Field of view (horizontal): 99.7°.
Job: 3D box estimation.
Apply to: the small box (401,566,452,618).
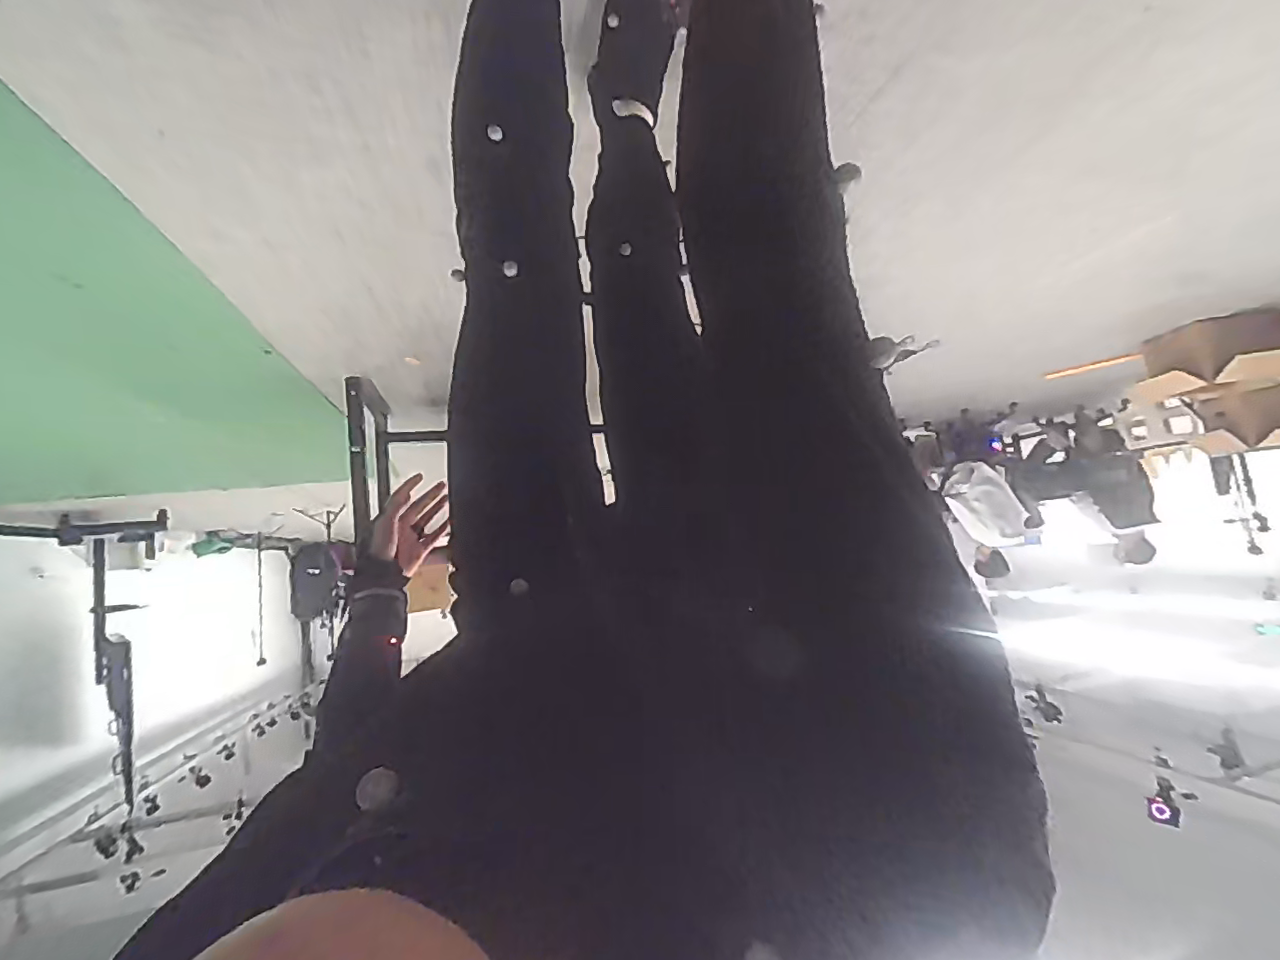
[{"bbox_3d":[-0.820,0.424,2.065,0.168,0.176,0.179,-4,173,-23],"label":"small box"}]
